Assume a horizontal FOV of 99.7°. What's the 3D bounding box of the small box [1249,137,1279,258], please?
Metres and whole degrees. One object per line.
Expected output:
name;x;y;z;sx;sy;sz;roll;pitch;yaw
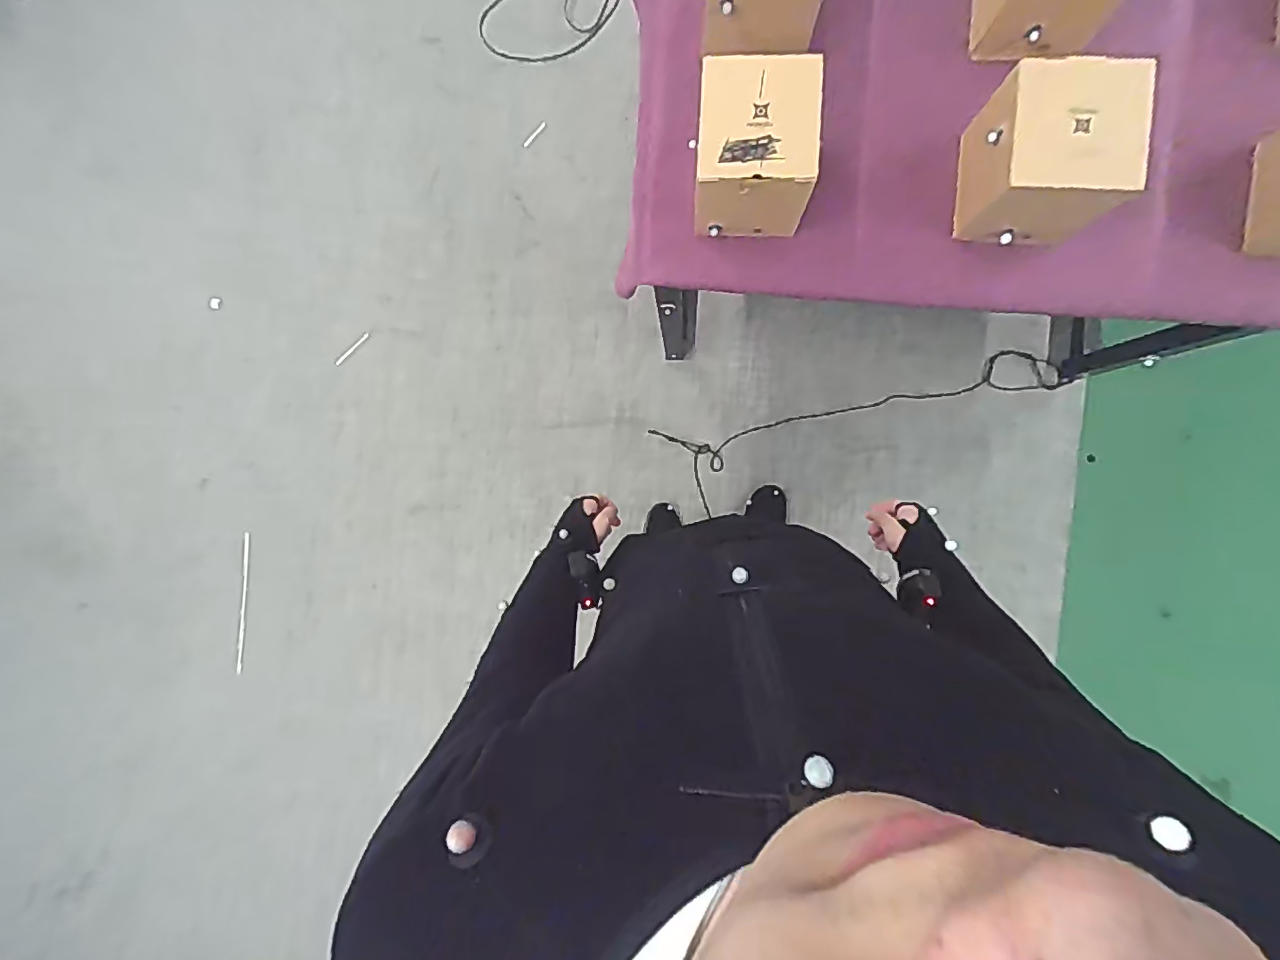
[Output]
small box;1.009;-0.422;0.741;0.168;0.176;0.179;8;88;6

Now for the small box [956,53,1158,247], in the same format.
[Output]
small box;0.583;-0.464;0.780;0.168;0.176;0.179;6;90;6

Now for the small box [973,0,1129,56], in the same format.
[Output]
small box;0.610;-0.760;0.778;0.168;0.176;0.179;3;92;4

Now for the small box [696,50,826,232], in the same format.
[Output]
small box;0.171;-0.494;0.812;0.168;0.176;0.179;3;89;4
